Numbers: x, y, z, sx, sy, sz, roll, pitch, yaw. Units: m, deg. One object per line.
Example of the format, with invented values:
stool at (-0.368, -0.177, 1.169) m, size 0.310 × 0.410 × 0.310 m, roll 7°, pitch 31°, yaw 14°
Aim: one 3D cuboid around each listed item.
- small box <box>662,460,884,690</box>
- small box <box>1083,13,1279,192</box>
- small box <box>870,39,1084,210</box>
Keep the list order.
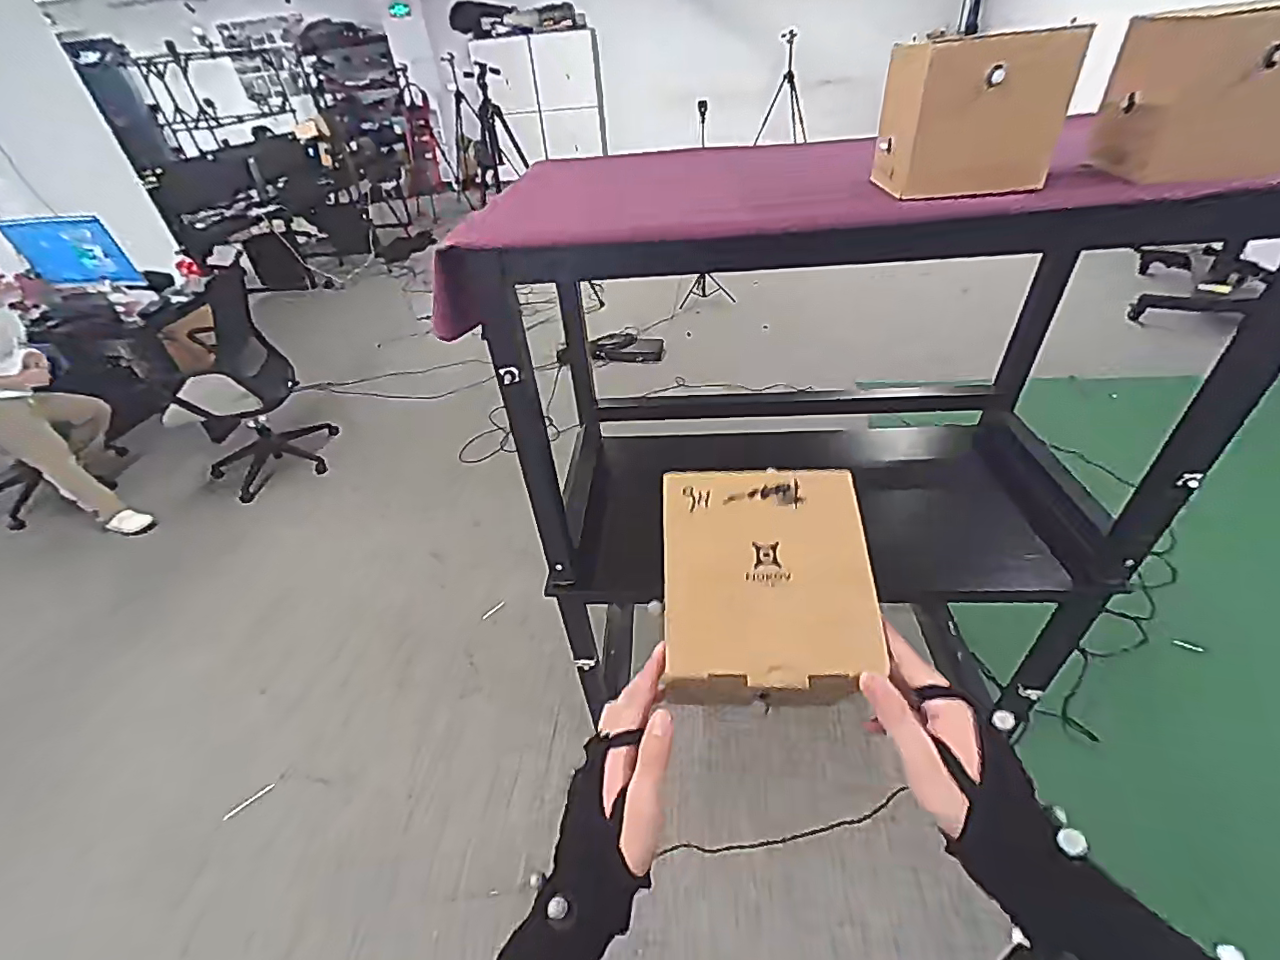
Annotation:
small box at (0.105, 0.098, 0.509) m, size 0.168 × 0.176 × 0.179 m, roll -1°, pitch 62°, yaw 3°
small box at (0.717, -0.479, 0.692) m, size 0.179 × 0.176 × 0.168 m, roll 1°, pitch 39°, yaw 10°
small box at (0.431, -0.476, 0.730) m, size 0.179 × 0.176 × 0.168 m, roll -2°, pitch 37°, yaw 7°
